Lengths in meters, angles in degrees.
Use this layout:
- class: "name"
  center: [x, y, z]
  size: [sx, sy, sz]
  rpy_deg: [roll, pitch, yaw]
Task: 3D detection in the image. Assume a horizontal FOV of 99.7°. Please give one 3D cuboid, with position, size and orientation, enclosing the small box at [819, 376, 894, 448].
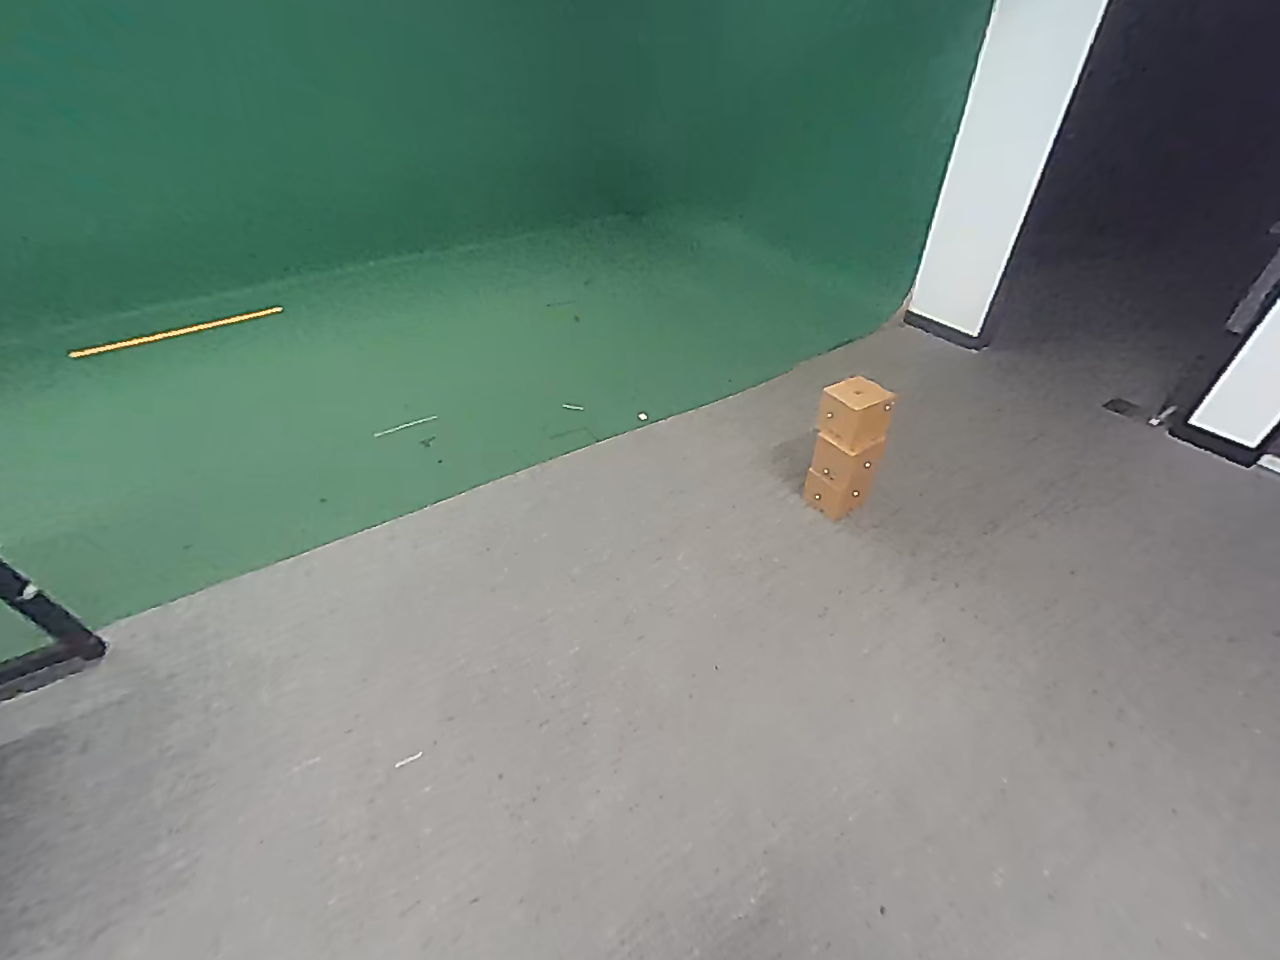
- class: "small box"
  center: [0.749, -0.236, 1.892]
  size: [0.179, 0.176, 0.168]
  rpy_deg: [-21, 44, -19]
